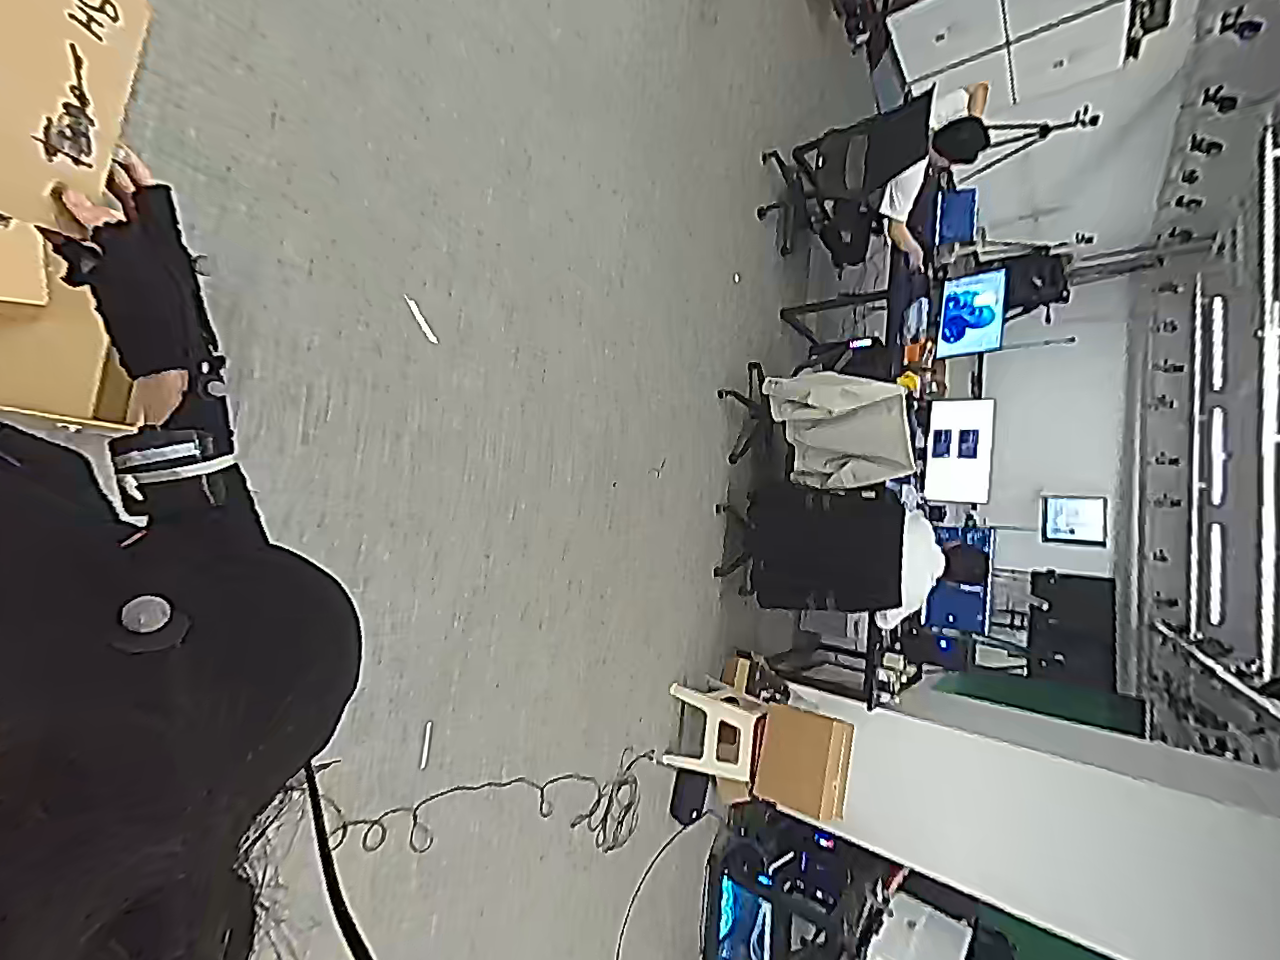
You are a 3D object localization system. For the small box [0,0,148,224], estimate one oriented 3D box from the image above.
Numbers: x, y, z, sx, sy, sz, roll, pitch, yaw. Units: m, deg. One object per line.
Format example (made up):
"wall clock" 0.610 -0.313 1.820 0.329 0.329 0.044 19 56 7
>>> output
"small box" -0.449 -0.282 0.313 0.179 0.176 0.168 7 109 -66
